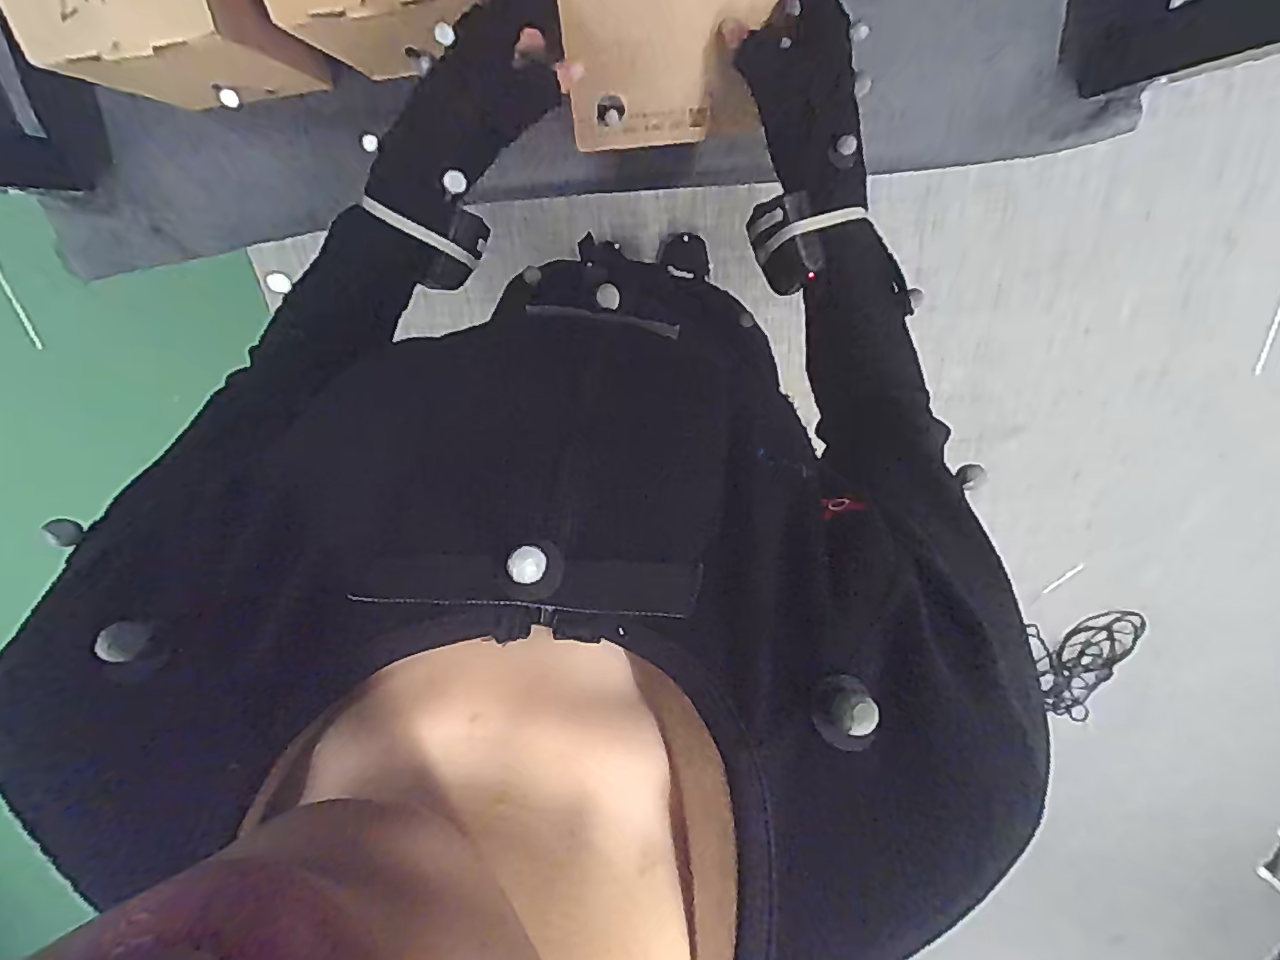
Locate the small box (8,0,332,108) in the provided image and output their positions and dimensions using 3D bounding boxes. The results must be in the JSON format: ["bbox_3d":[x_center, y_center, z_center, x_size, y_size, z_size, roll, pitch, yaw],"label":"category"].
[{"bbox_3d":[-0.412,-0.454,0.471,0.168,0.176,0.179,-5,114,4],"label":"small box"}]

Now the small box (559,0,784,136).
[{"bbox_3d":[0.018,-0.401,0.435,0.168,0.179,0.176,-6,148,-2],"label":"small box"}]
